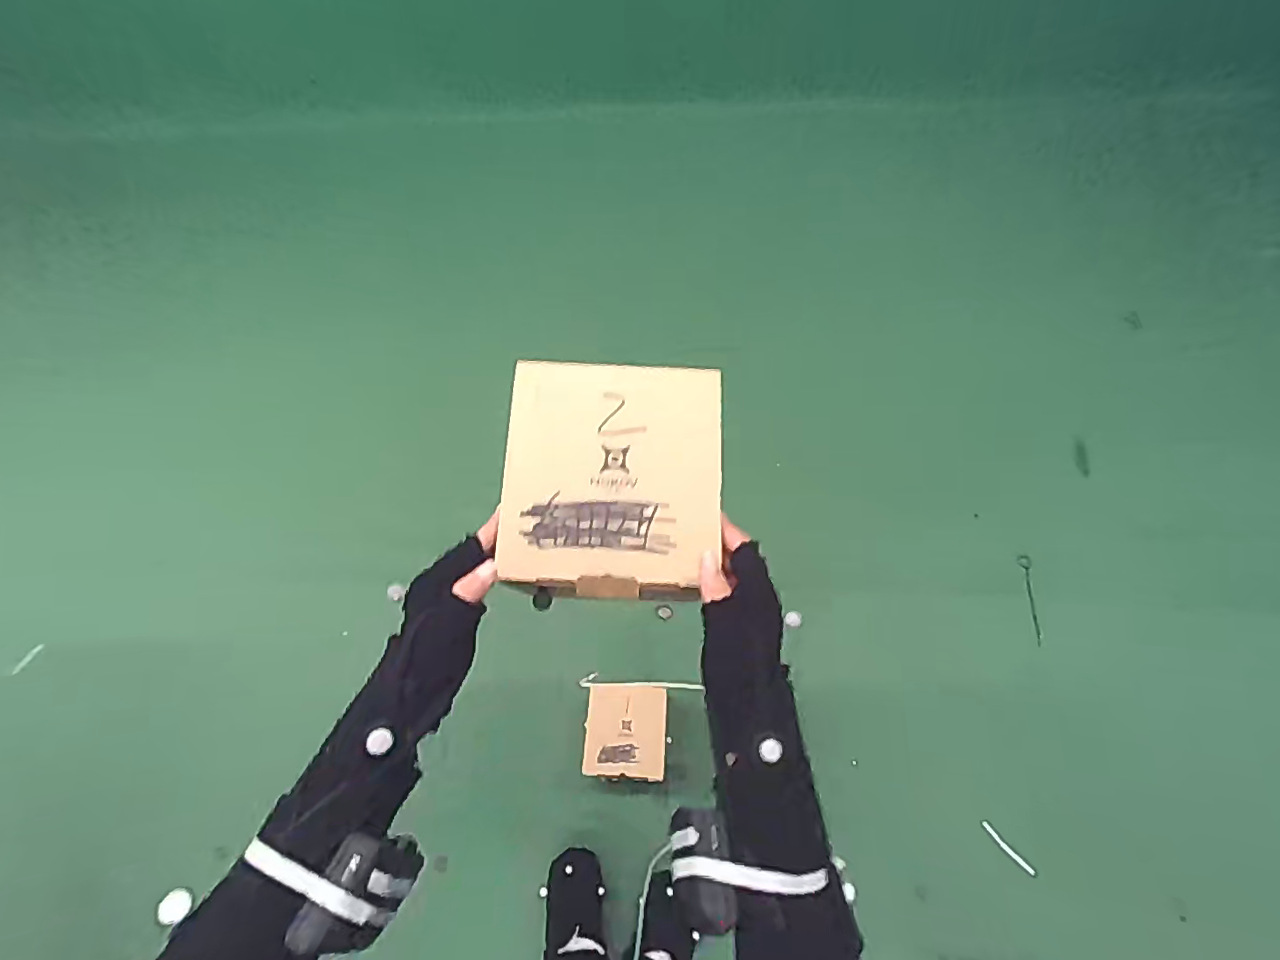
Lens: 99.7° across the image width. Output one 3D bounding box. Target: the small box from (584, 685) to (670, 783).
[{"bbox_3d":[-0.020,0.558,1.186,0.168,0.176,0.179,2,62,4],"label":"small box"}]
